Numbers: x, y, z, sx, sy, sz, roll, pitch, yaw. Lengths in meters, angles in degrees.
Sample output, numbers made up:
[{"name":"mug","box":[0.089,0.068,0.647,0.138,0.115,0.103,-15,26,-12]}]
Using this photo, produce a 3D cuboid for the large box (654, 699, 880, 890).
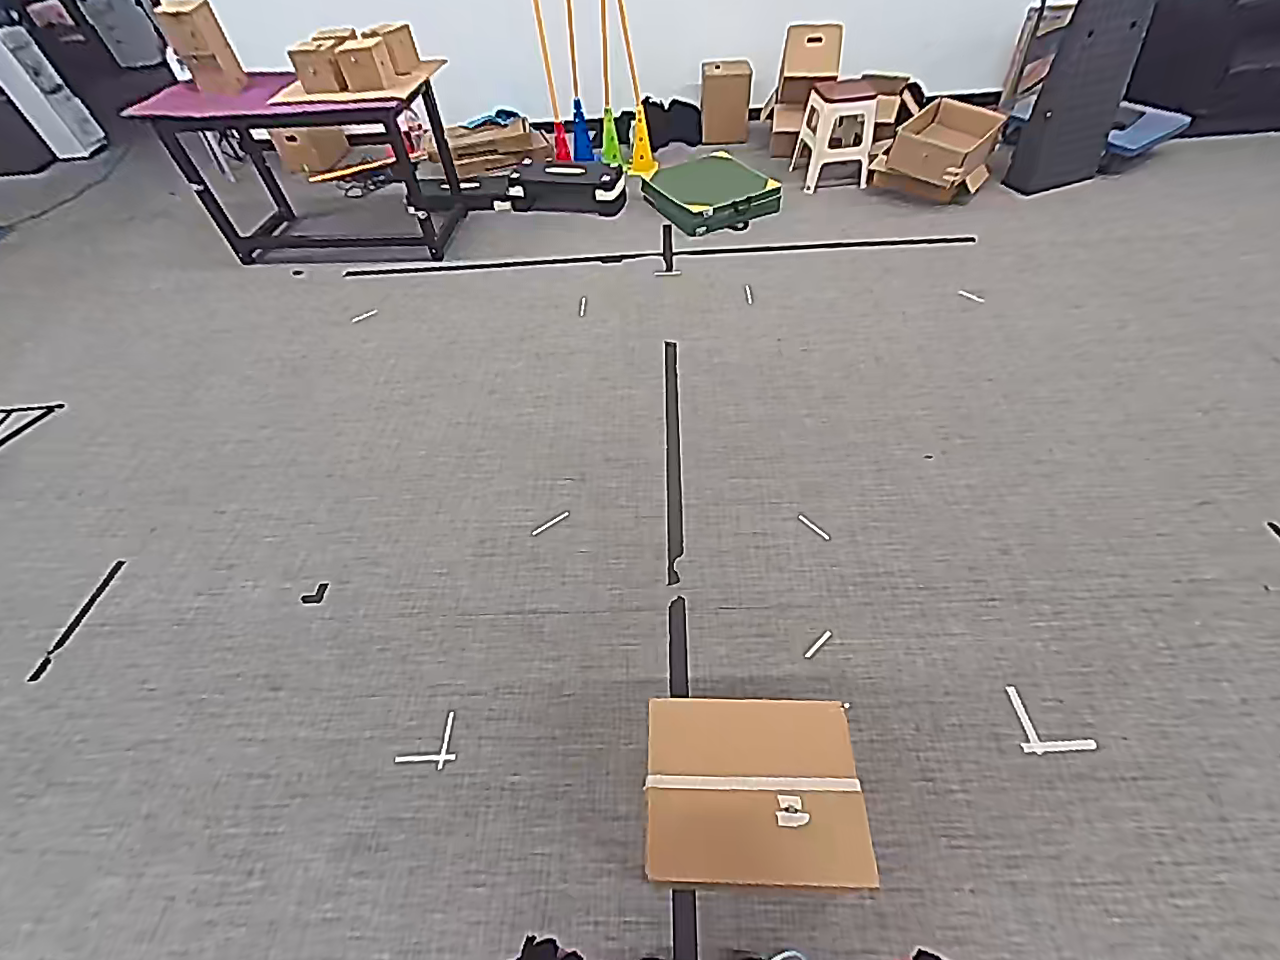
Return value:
[{"name":"large box","box":[0.233,0.679,1.162,0.408,0.320,0.320,0,52,3]}]
